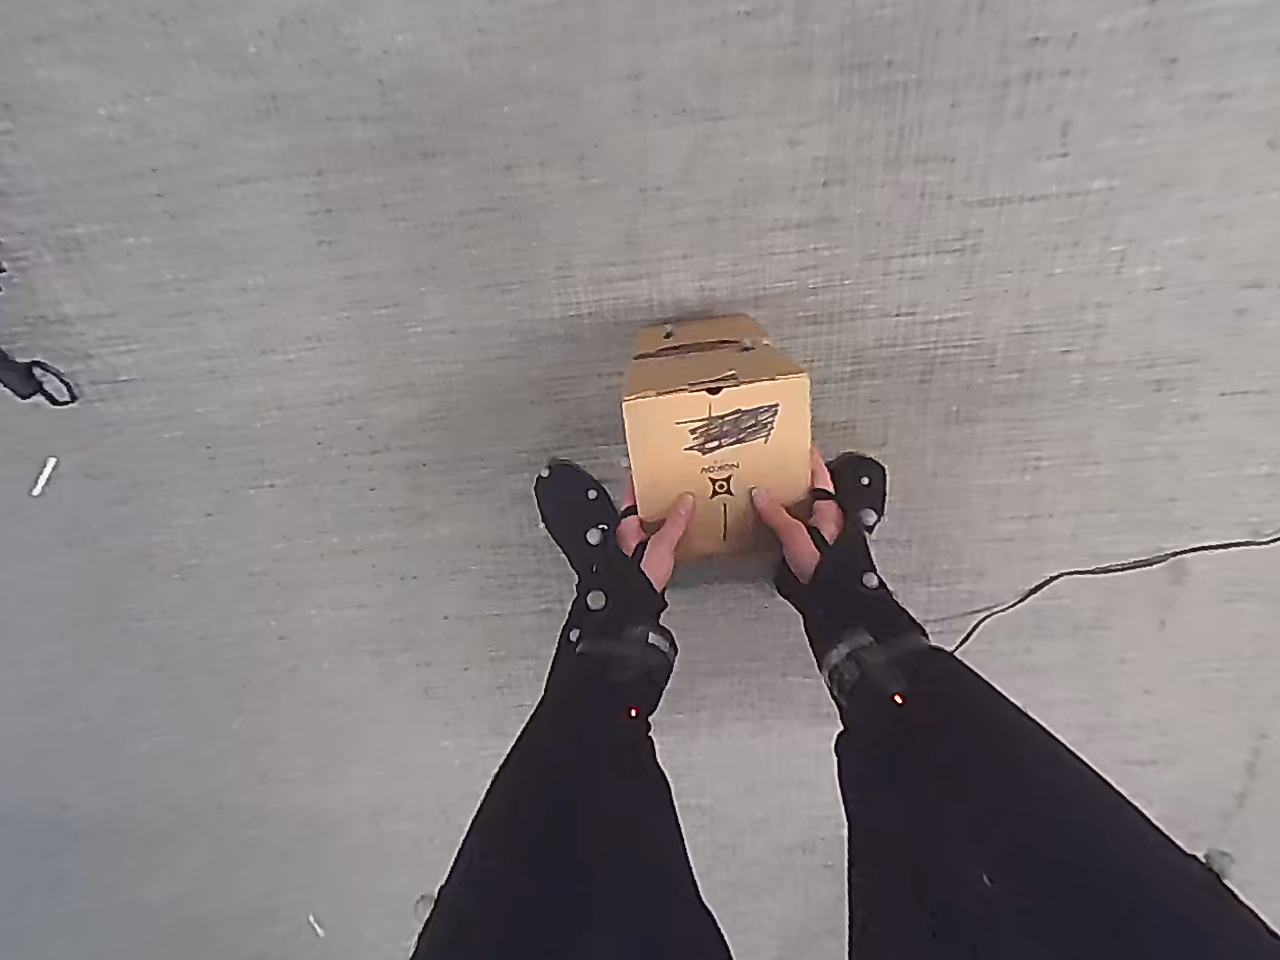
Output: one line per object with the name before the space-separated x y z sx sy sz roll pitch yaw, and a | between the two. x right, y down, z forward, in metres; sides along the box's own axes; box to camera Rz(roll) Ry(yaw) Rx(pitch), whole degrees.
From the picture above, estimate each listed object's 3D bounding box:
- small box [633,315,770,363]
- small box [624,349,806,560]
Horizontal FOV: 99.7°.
small box | 0.082 -0.122 0.742 0.168 0.176 0.179 -5 118 6
small box | 0.074 -0.038 0.584 0.168 0.176 0.179 -6 116 4
